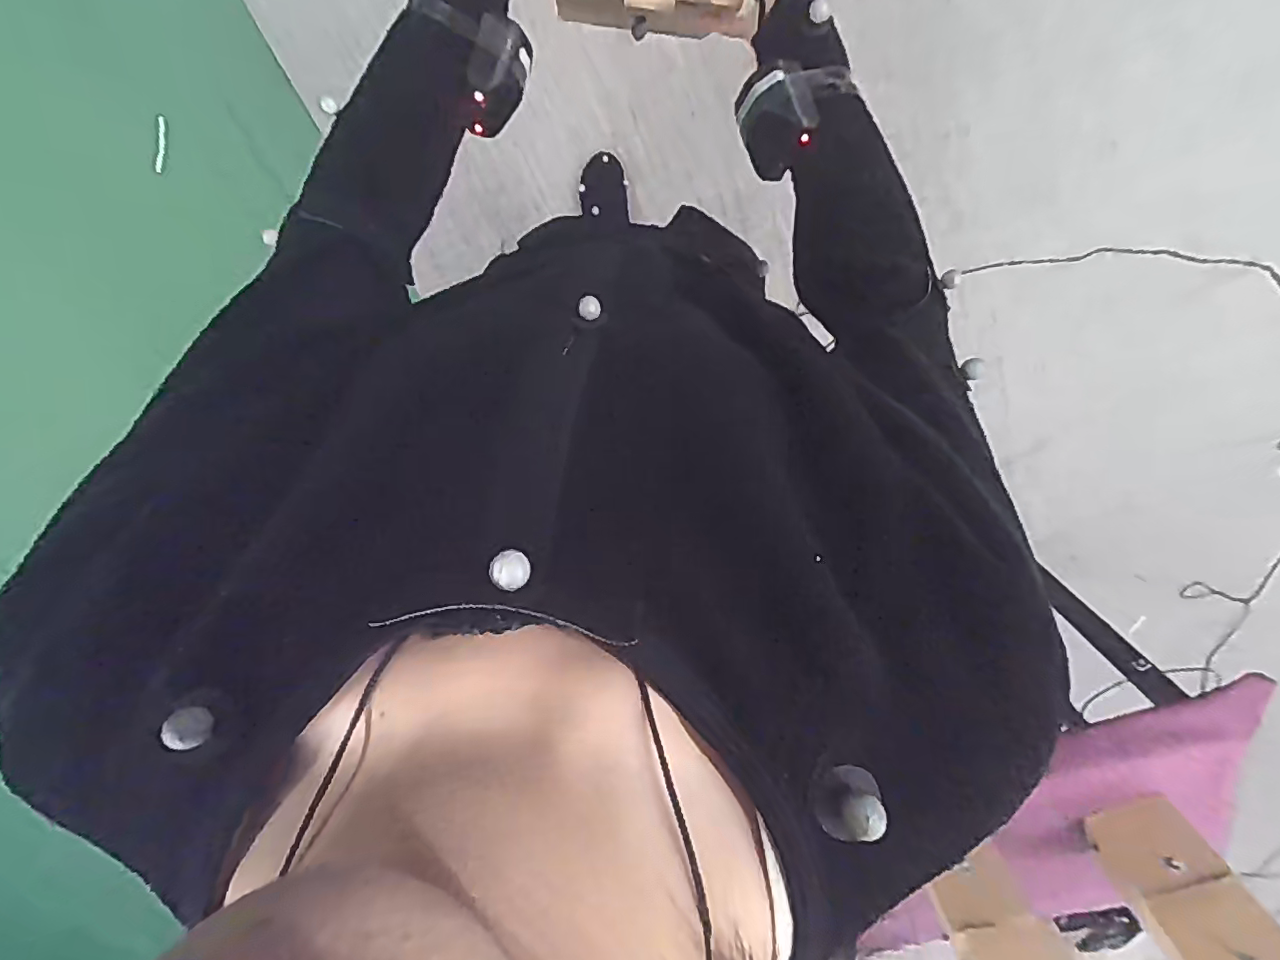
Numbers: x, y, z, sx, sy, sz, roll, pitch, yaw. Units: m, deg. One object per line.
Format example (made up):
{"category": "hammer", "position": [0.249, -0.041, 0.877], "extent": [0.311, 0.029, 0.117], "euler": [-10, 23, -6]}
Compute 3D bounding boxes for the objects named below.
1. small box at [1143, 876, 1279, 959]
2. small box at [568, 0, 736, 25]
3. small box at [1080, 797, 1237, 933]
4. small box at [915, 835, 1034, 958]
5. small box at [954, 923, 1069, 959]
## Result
{"category": "small box", "position": [1.091, 0.885, 1.007], "extent": [0.179, 0.176, 0.168], "euler": [-27, 114, 12]}
{"category": "small box", "position": [0.007, -0.531, 0.478], "extent": [0.168, 0.176, 0.179], "euler": [1, 124, -8]}
{"category": "small box", "position": [1.094, 0.813, 1.151], "extent": [0.179, 0.176, 0.168], "euler": [-25, 115, 12]}
{"category": "small box", "position": [0.741, 0.933, 1.206], "extent": [0.168, 0.176, 0.179], "euler": [-19, 116, 8]}
{"category": "small box", "position": [0.753, 1.004, 1.057], "extent": [0.179, 0.176, 0.168], "euler": [-9, 117, 4]}
